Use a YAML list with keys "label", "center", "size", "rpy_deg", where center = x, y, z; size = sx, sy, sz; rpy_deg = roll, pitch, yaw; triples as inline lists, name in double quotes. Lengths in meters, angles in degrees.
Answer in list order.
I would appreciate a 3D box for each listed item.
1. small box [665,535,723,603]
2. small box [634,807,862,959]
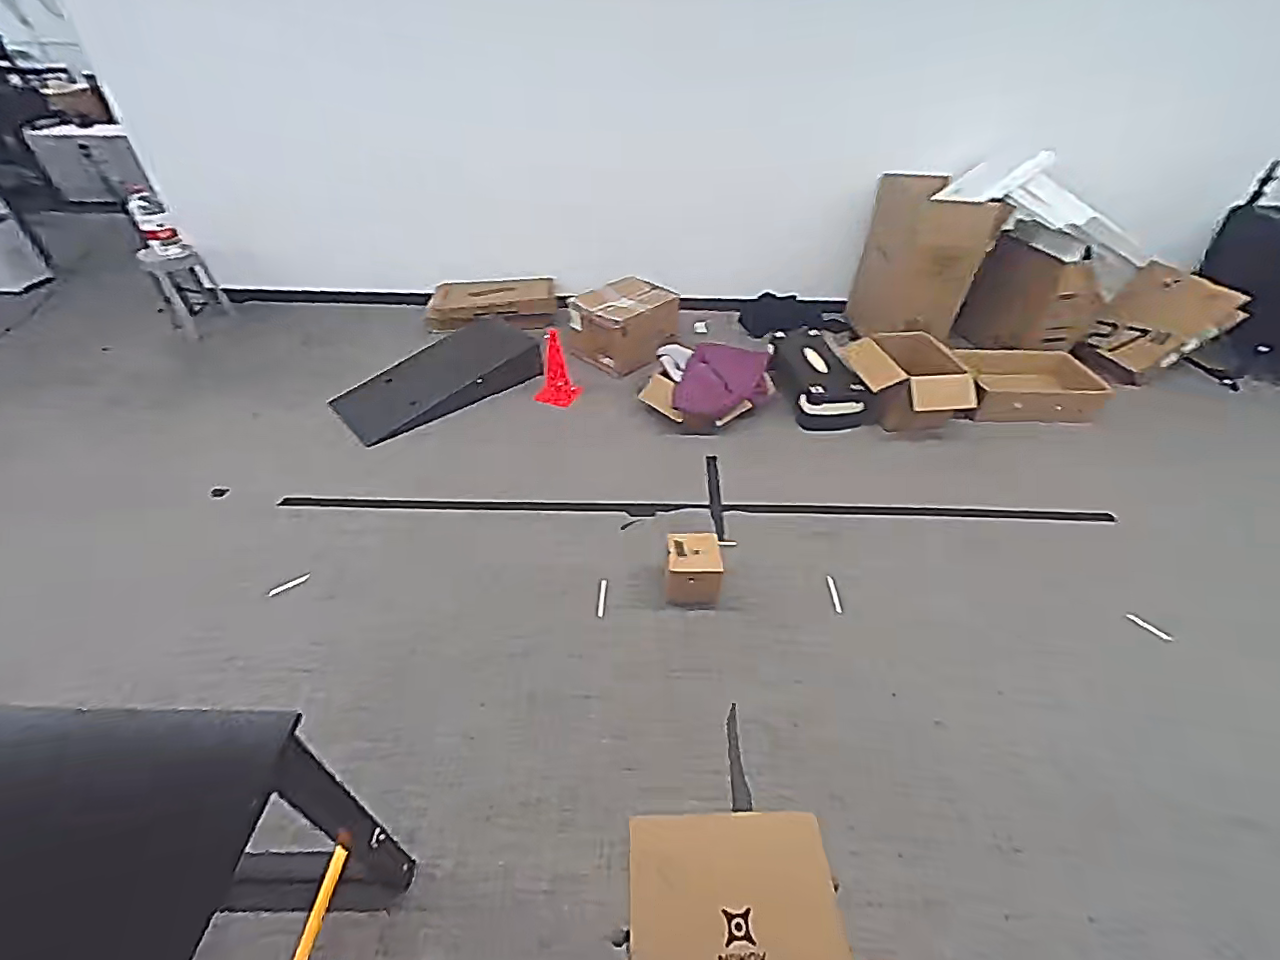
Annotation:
- label: "small box"
  center: [0.176, 0.305, 1.832]
  size: [0.179, 0.176, 0.168]
  rpy_deg: [0, 41, -2]
- label: "small box"
  center: [0.079, 0.402, 0.455]
  size: [0.168, 0.176, 0.179]
  rpy_deg: [0, 42, -1]
